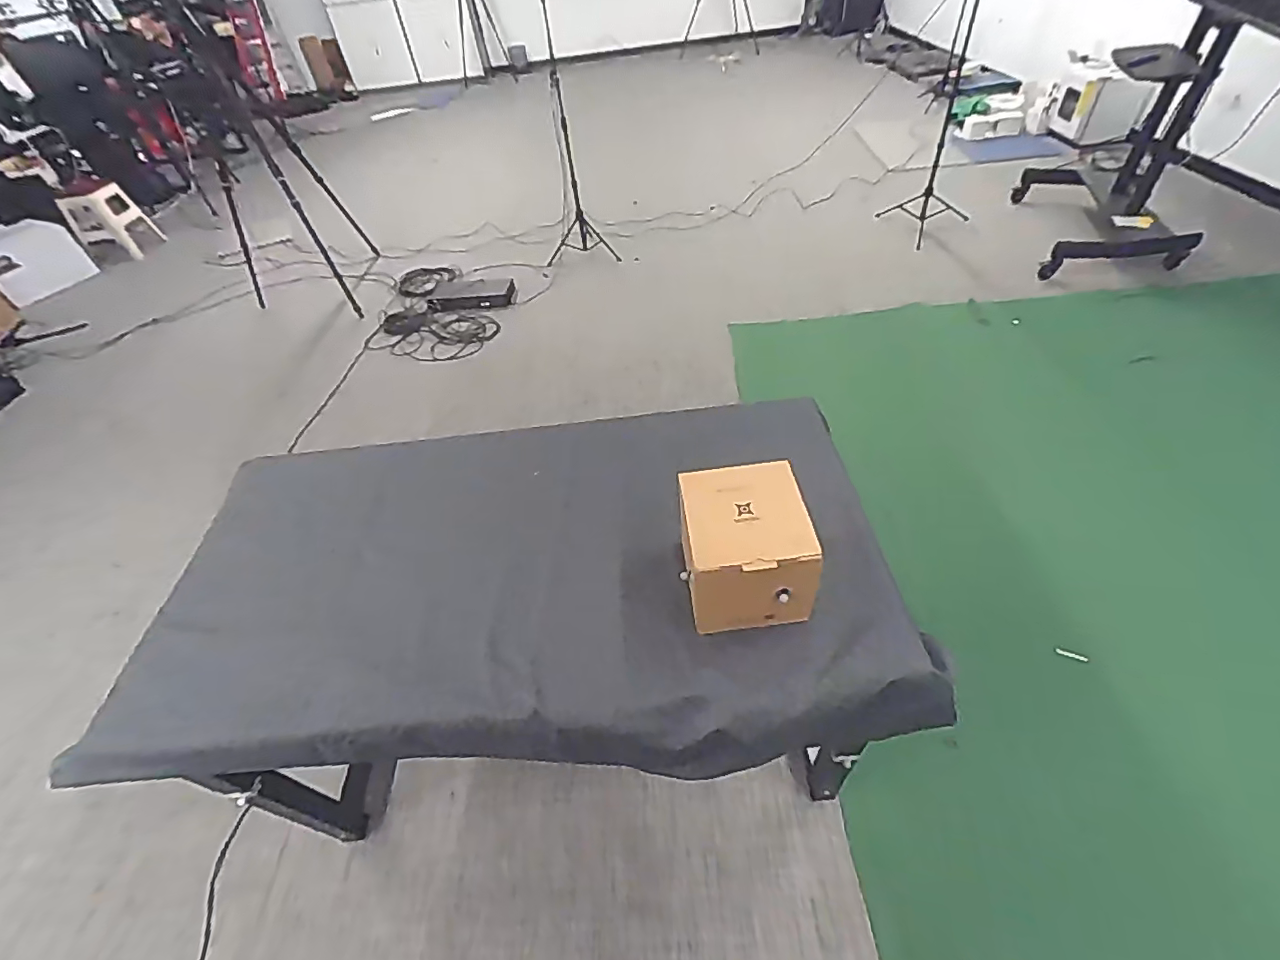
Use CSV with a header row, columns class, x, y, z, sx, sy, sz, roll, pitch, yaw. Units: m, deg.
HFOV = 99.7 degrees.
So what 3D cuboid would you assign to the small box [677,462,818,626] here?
class,x,y,z,sx,sy,sz,roll,pitch,yaw
small box,0.150,0.101,0.800,0.168,0.176,0.179,-7,45,0
